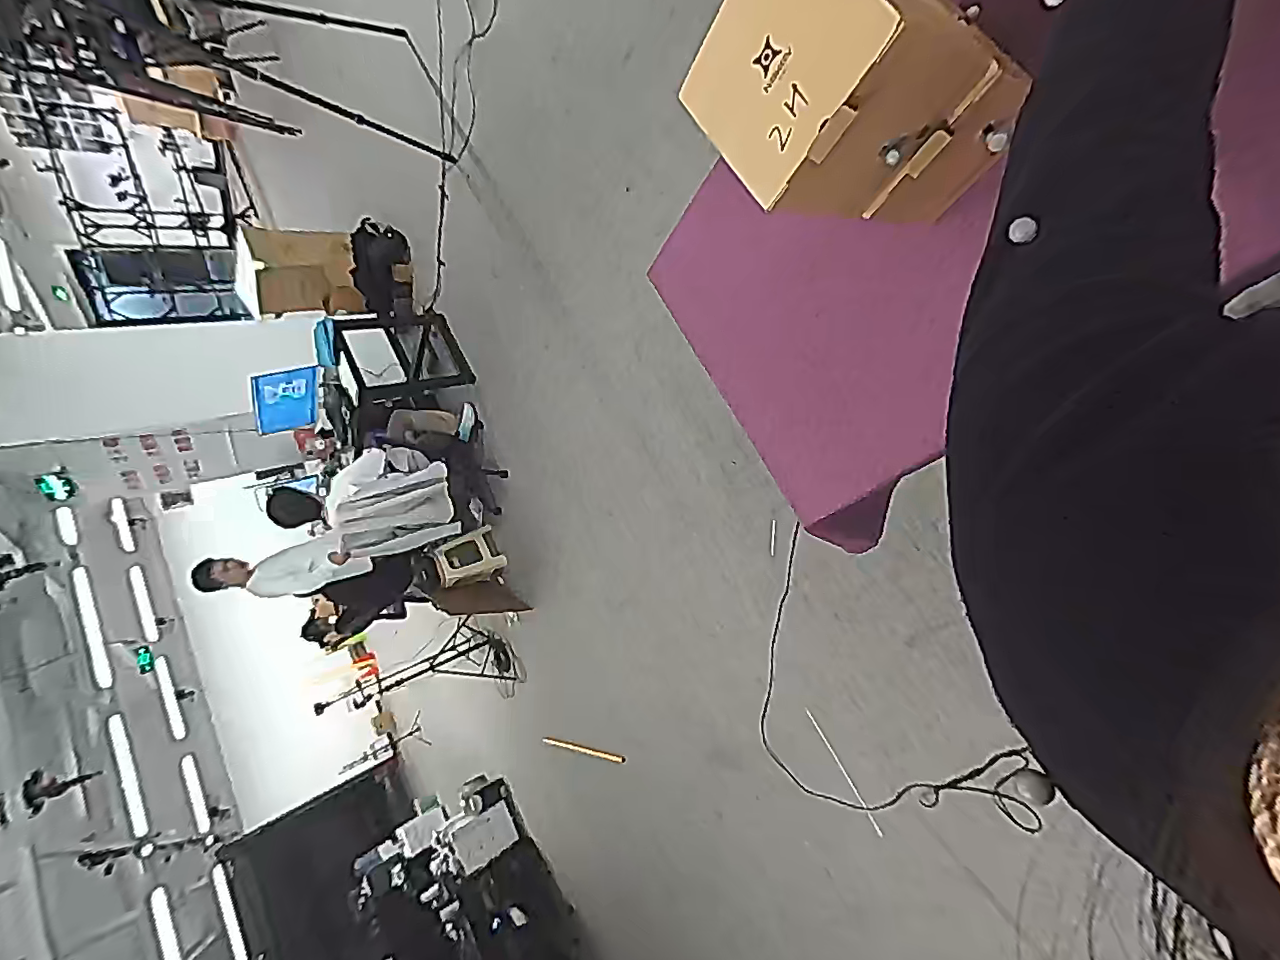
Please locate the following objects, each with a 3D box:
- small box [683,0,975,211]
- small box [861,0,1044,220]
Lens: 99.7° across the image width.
[{"bbox_3d":[0.181,-0.391,0.534,0.179,0.176,0.168,61,141,15],"label":"small box"},{"bbox_3d":[0.315,-0.428,0.623,0.179,0.176,0.168,61,141,15],"label":"small box"}]
